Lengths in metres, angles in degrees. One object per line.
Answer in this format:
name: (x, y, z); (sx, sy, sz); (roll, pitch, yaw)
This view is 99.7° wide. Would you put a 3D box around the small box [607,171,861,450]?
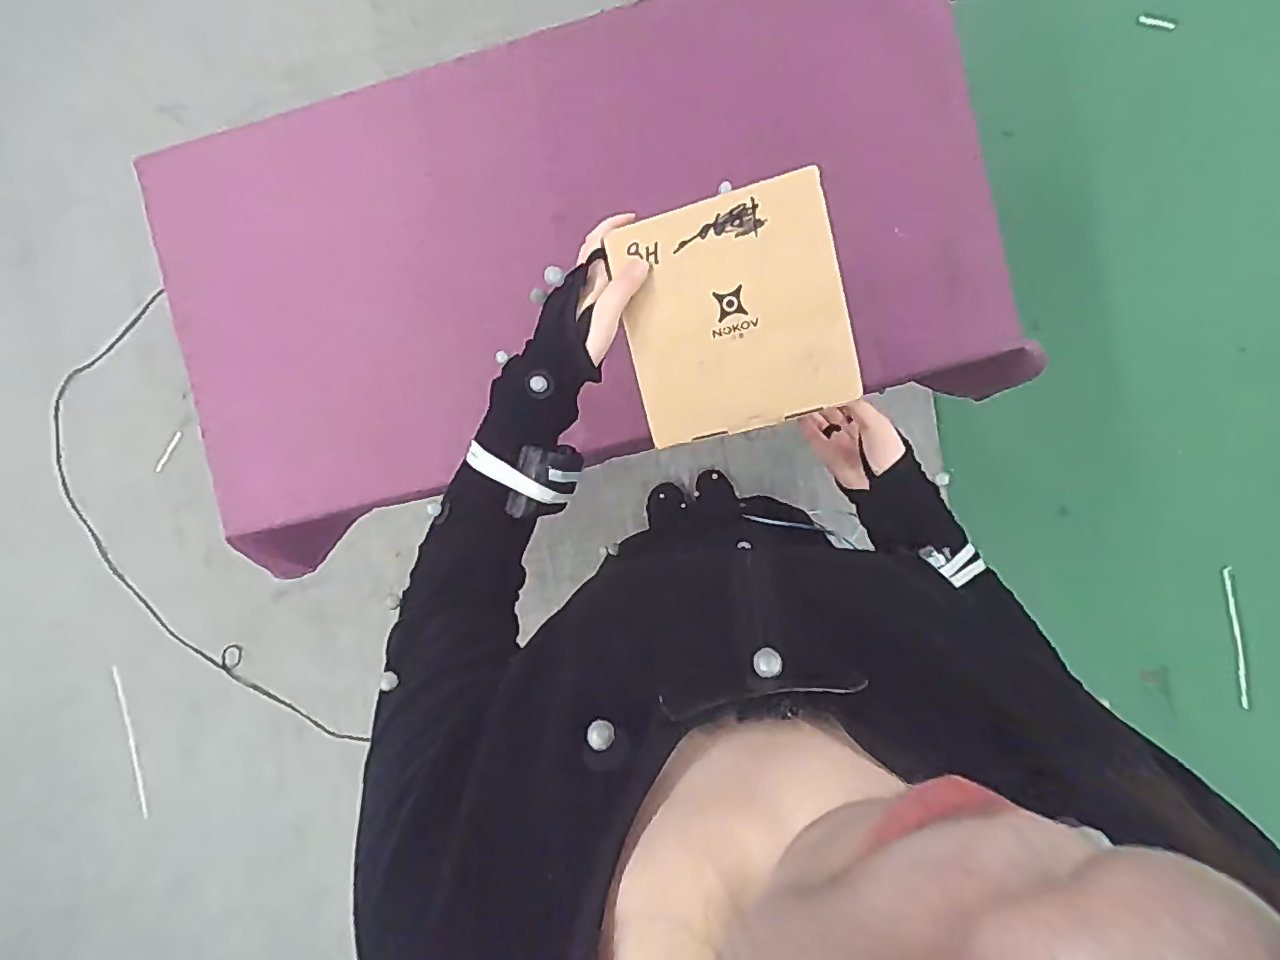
small box: (0.084, -0.138, 0.491); (0.168, 0.176, 0.179); (-13, 98, 10)
